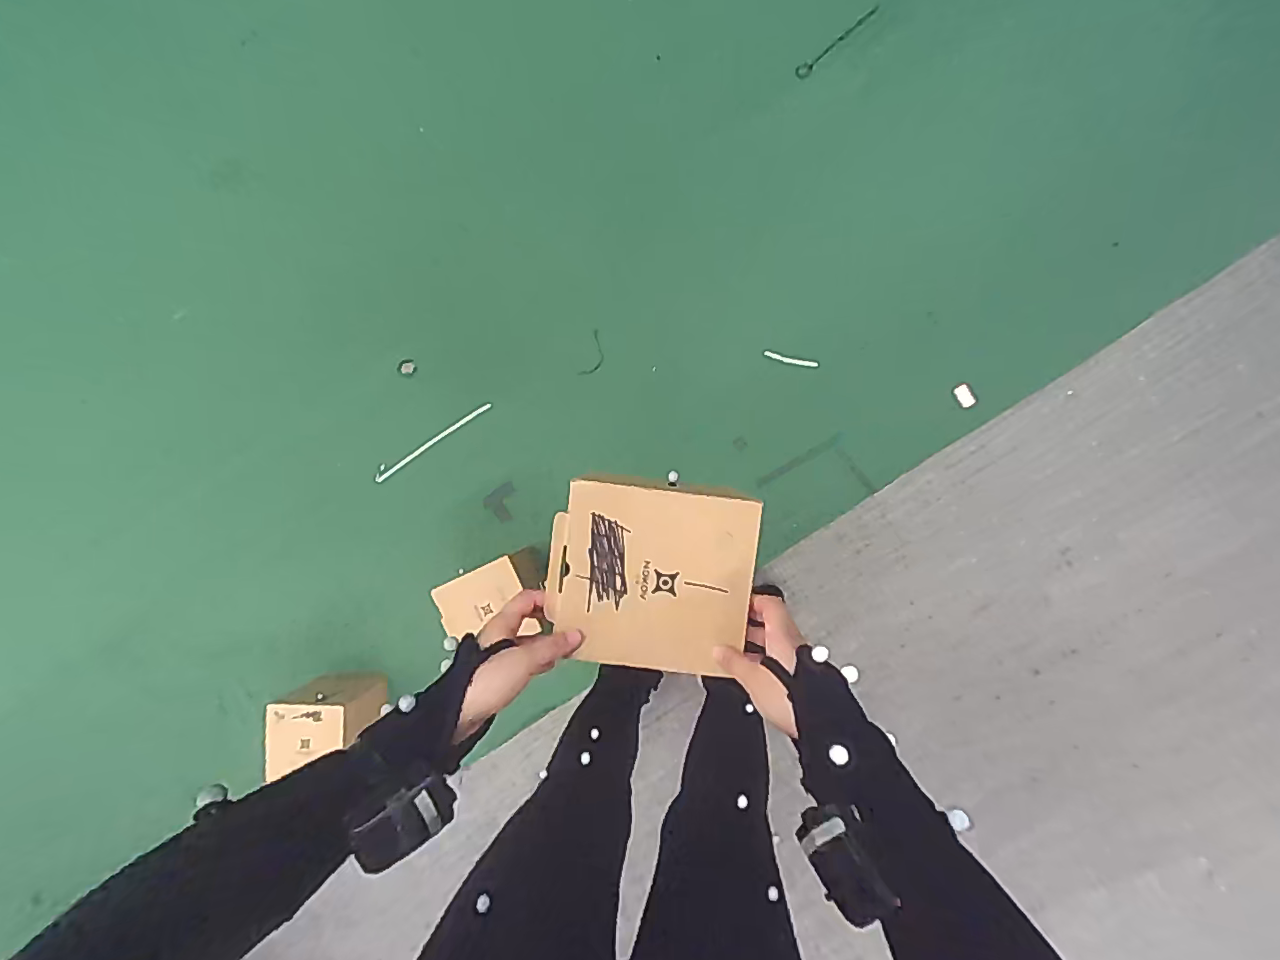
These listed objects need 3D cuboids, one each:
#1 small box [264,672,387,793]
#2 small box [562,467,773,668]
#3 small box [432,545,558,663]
[{"bbox_3d":[-0.659,0.529,1.150,0.168,0.176,0.179,0,90,4],"label":"small box"},{"bbox_3d":[0.024,0.077,0.572,0.179,0.176,0.168,7,94,-1],"label":"small box"},{"bbox_3d":[-0.294,0.250,1.129,0.179,0.176,0.168,-25,89,2],"label":"small box"}]
